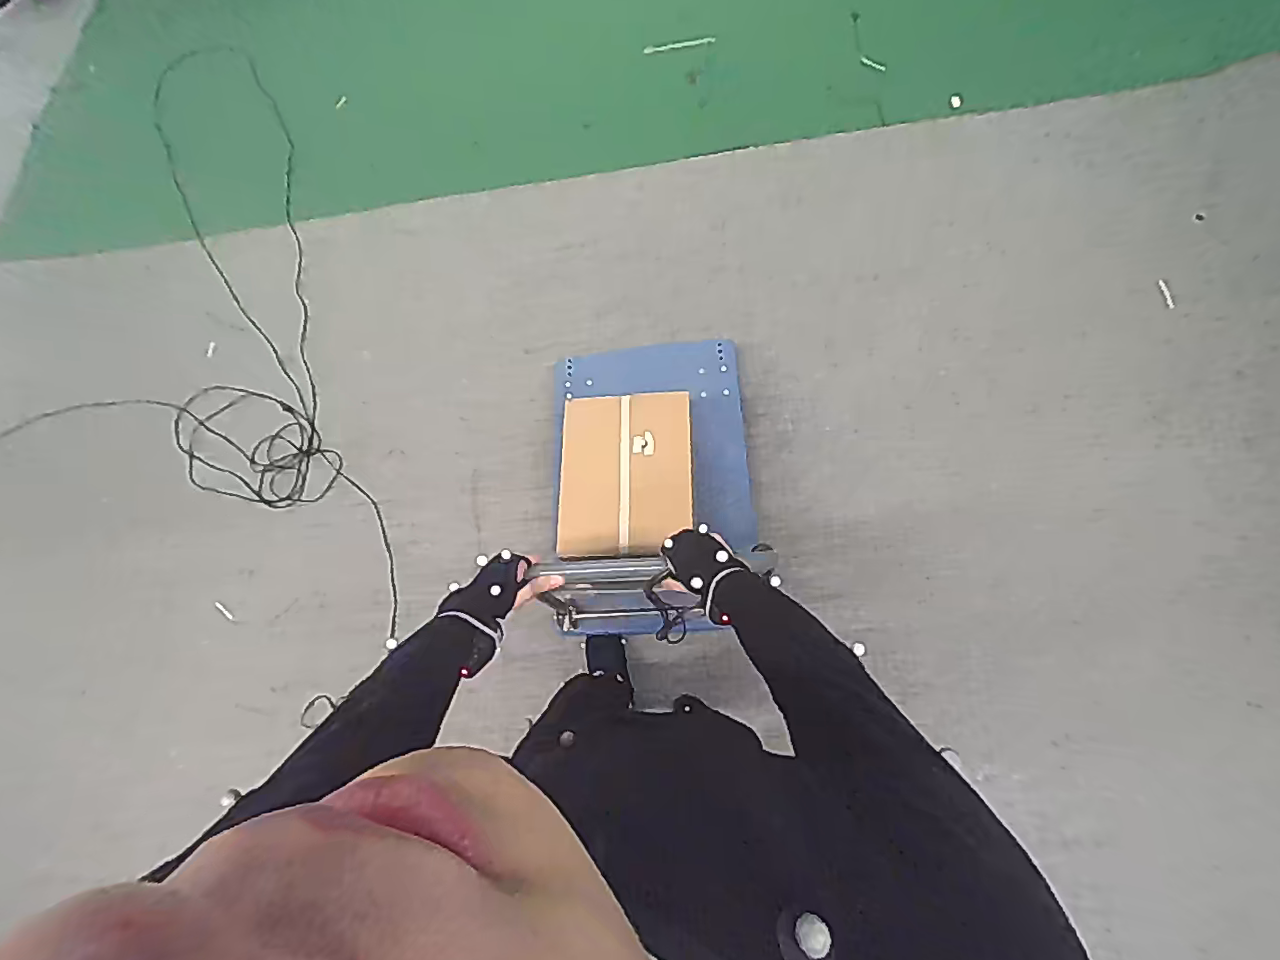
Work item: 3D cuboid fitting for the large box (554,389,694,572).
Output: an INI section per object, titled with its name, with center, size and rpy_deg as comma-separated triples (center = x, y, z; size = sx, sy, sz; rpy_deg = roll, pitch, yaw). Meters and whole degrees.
[large box]
center = -0.025, 0.018, 1.418
size = 0.320, 0.320, 0.408
rpy_deg = -1, 71, 7
